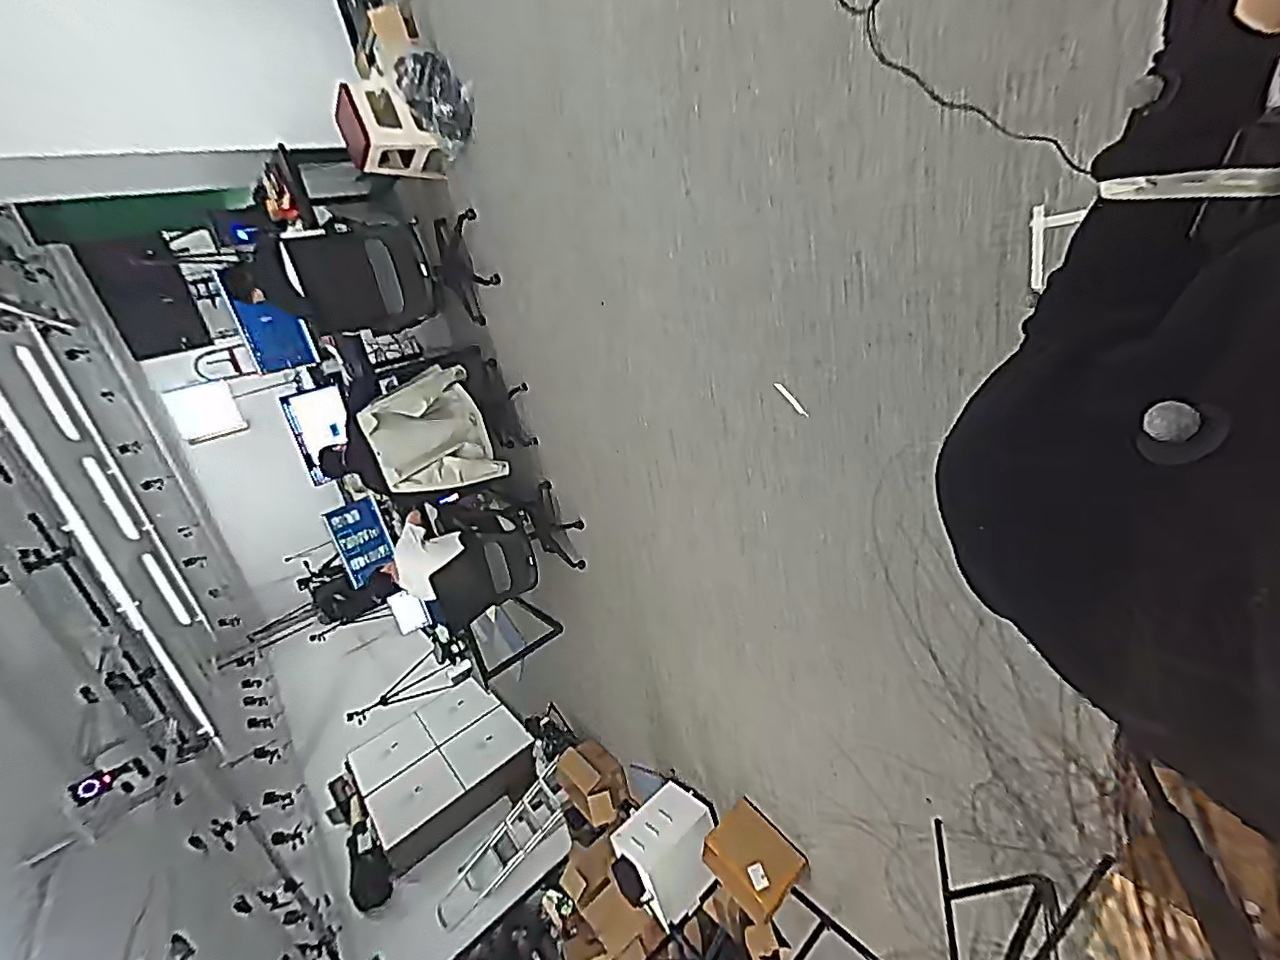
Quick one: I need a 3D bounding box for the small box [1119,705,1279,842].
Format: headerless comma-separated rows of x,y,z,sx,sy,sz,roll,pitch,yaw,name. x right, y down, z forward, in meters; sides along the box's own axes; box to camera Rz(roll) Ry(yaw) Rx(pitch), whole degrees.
0.773,0.427,0.702,0.179,0.176,0.168,19,127,47,small box

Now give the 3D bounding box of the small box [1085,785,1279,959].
0.652,0.488,0.613,0.179,0.176,0.168,19,126,46,small box
